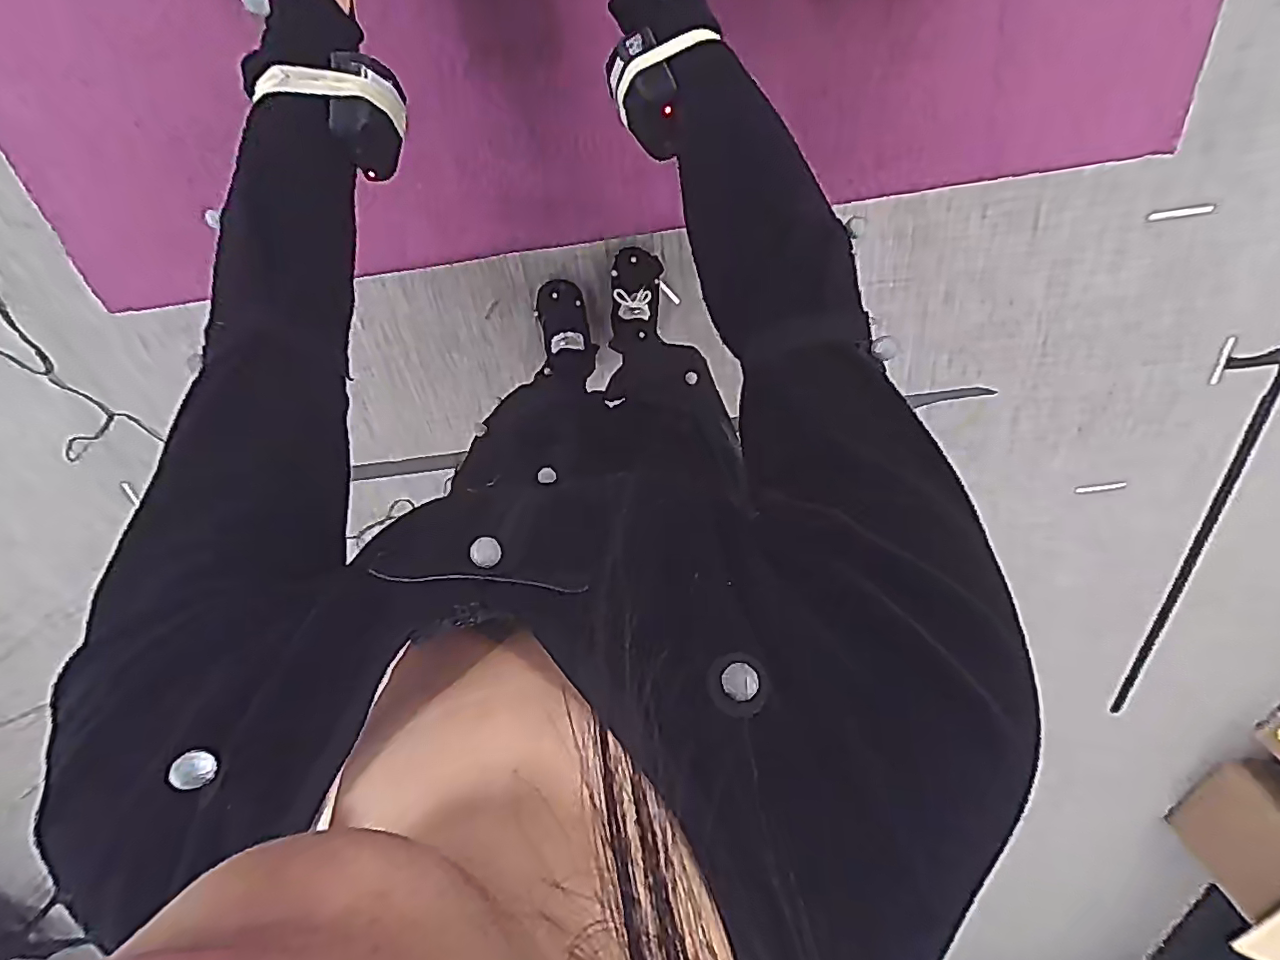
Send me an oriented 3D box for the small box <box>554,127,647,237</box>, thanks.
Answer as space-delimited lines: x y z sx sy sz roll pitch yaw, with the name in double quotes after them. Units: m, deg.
-0.080 -0.629 1.144 0.168 0.176 0.179 -8 122 2 "small box"
